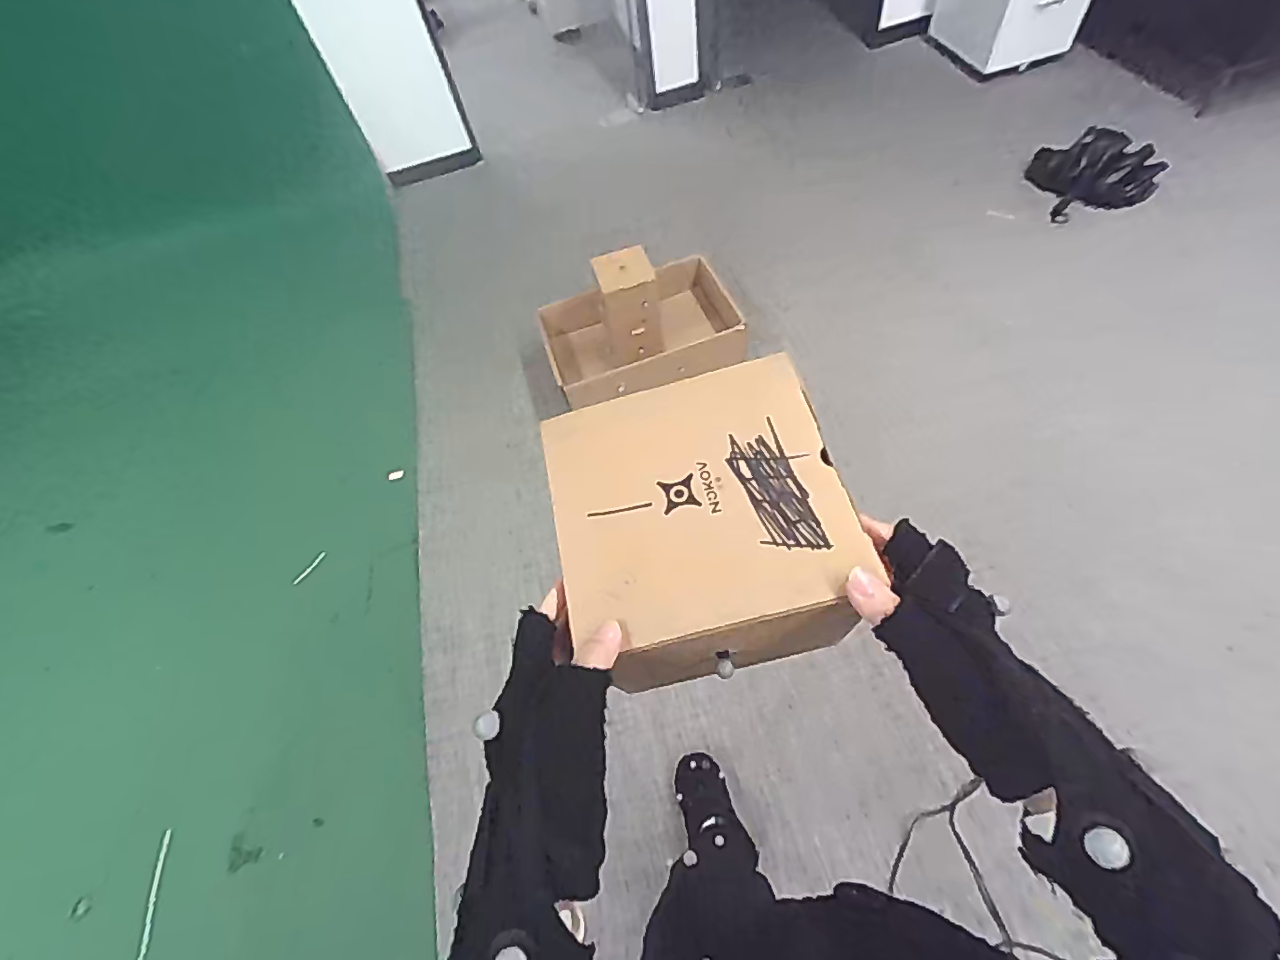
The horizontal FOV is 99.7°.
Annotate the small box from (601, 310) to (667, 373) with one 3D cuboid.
[{"bbox_3d":[-0.015,-0.484,1.819,0.168,0.176,0.179,-20,57,-2],"label":"small box"}]

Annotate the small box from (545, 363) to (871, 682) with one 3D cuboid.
[{"bbox_3d":[0.044,0.045,0.410,0.179,0.176,0.168,-15,62,4],"label":"small box"}]

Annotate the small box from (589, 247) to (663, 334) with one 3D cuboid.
[{"bbox_3d":[-0.038,-0.575,1.667,0.168,0.176,0.179,-22,58,-4],"label":"small box"}]
